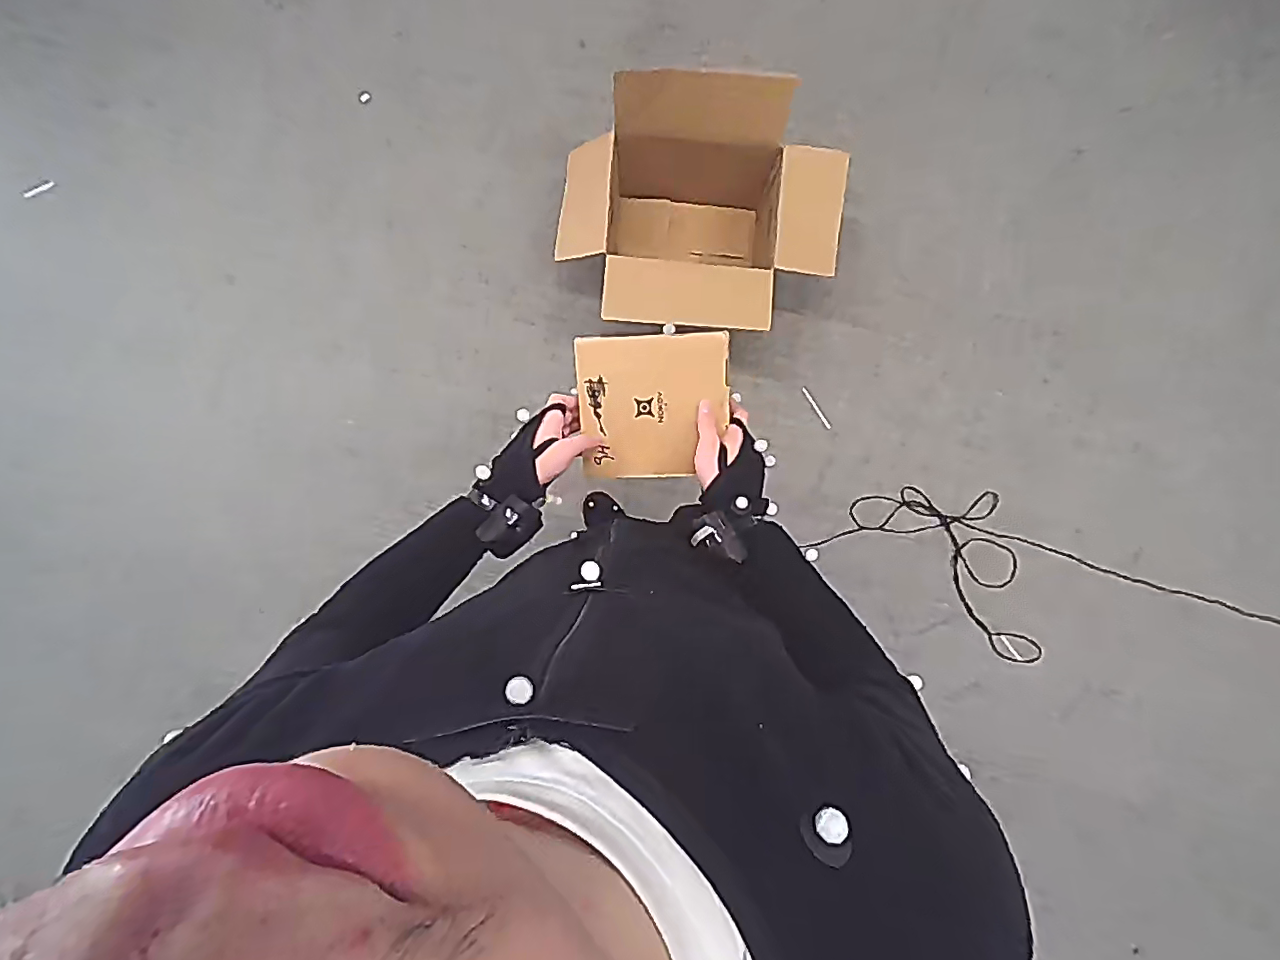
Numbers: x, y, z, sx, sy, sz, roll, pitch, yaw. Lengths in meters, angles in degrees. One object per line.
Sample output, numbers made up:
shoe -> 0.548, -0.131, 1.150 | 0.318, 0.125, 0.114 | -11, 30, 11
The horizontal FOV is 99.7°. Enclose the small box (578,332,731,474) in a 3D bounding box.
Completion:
small box -> 0.027, -0.106, 0.705 | 0.179, 0.176, 0.168 | 0, 103, 9
